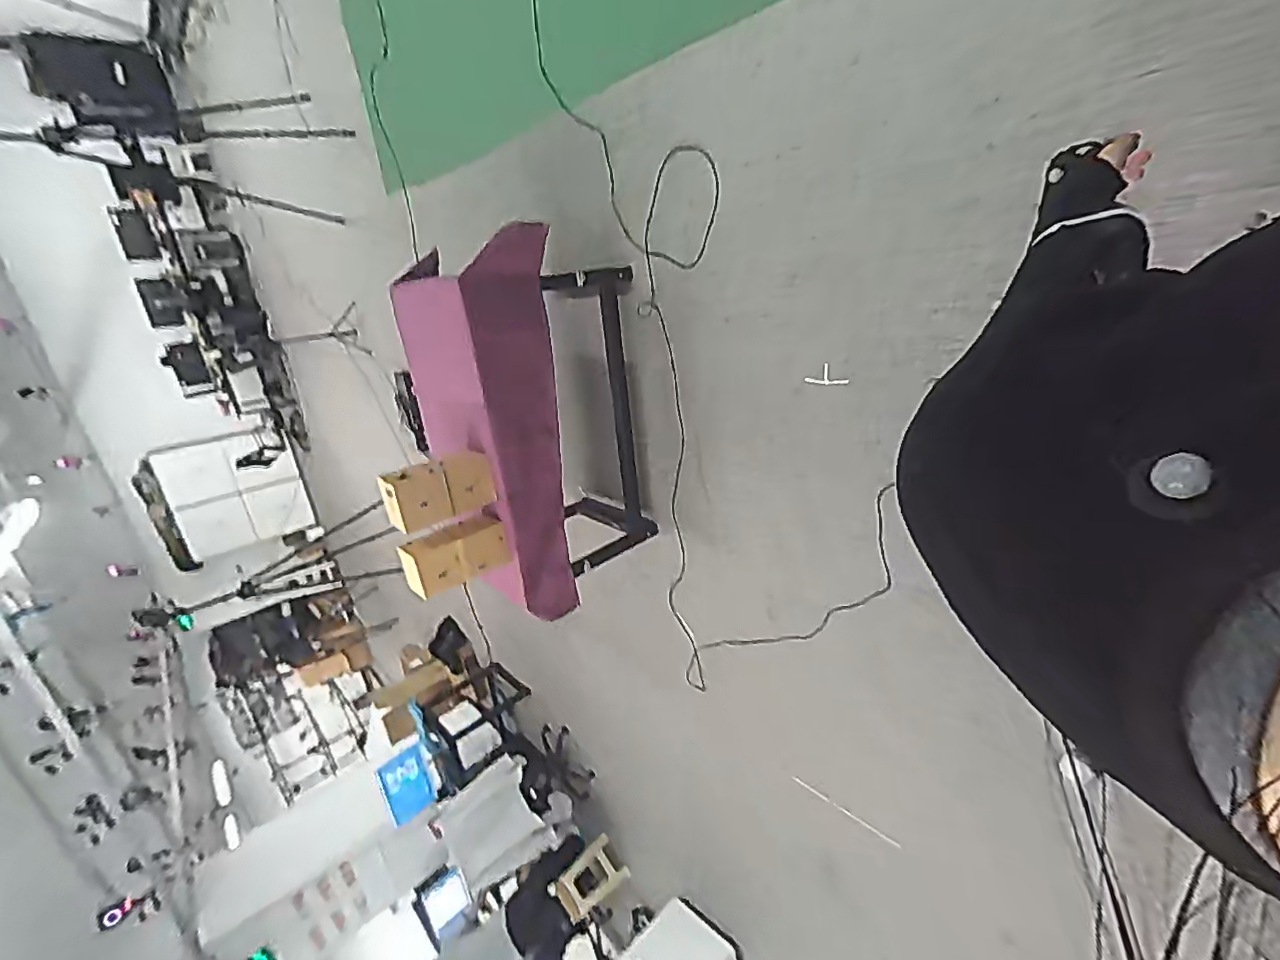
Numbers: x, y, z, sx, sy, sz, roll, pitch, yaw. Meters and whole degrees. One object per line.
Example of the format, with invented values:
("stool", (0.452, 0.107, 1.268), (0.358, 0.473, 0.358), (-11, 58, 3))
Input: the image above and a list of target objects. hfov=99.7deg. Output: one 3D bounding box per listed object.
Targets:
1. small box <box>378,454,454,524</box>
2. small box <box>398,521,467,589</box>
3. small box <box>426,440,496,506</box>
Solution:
("small box", (-0.755, 0.023, 1.833), (0.168, 0.176, 0.179), (18, 122, 45))
("small box", (-0.735, 0.261, 1.937), (0.179, 0.176, 0.168), (13, 118, 48))
("small box", (-0.637, -0.029, 1.936), (0.168, 0.176, 0.179), (16, 120, 46))
